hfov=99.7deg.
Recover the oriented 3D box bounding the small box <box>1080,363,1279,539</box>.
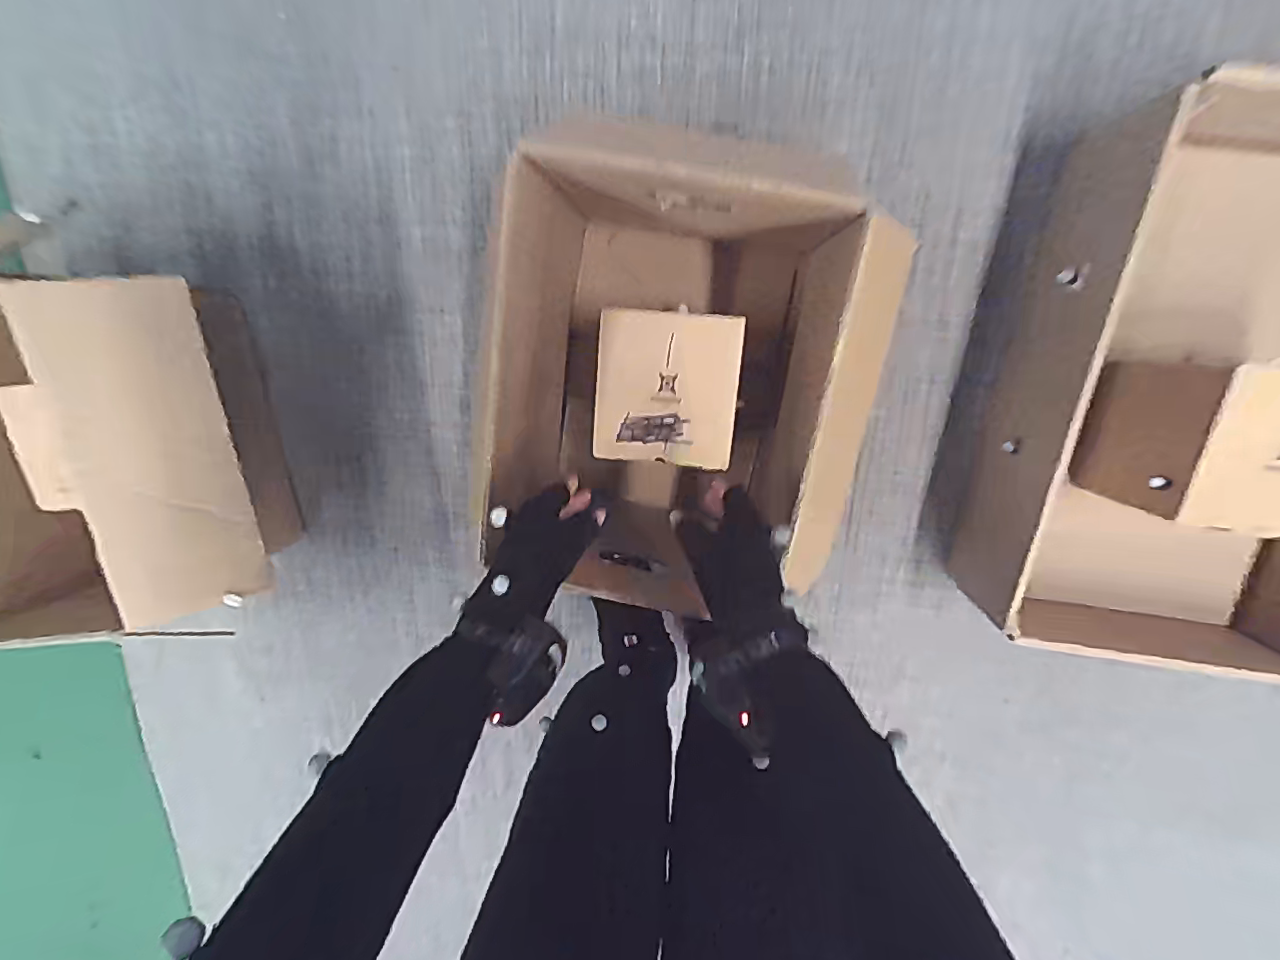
[{"bbox_3d":[0.673,-0.042,0.634,0.168,0.176,0.179,7,105,4],"label":"small box"}]
